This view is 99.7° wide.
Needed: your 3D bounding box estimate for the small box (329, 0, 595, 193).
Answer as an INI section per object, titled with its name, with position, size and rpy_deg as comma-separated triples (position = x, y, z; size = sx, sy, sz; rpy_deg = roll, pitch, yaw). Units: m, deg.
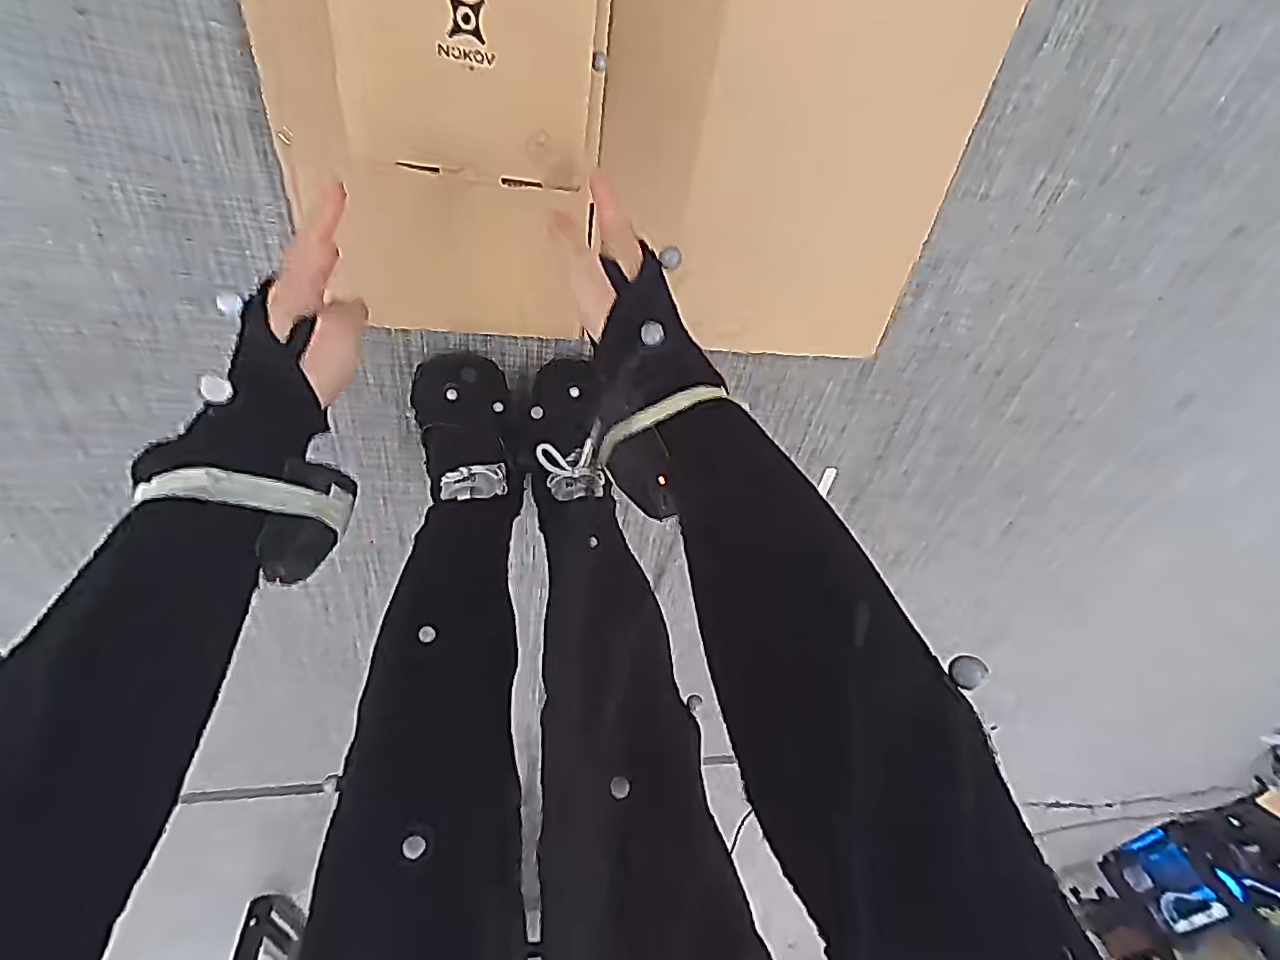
[small box]
position = -0.125, -0.343, 0.413
size = 0.168, 0.176, 0.179
rpy_deg = 1, 128, -13
